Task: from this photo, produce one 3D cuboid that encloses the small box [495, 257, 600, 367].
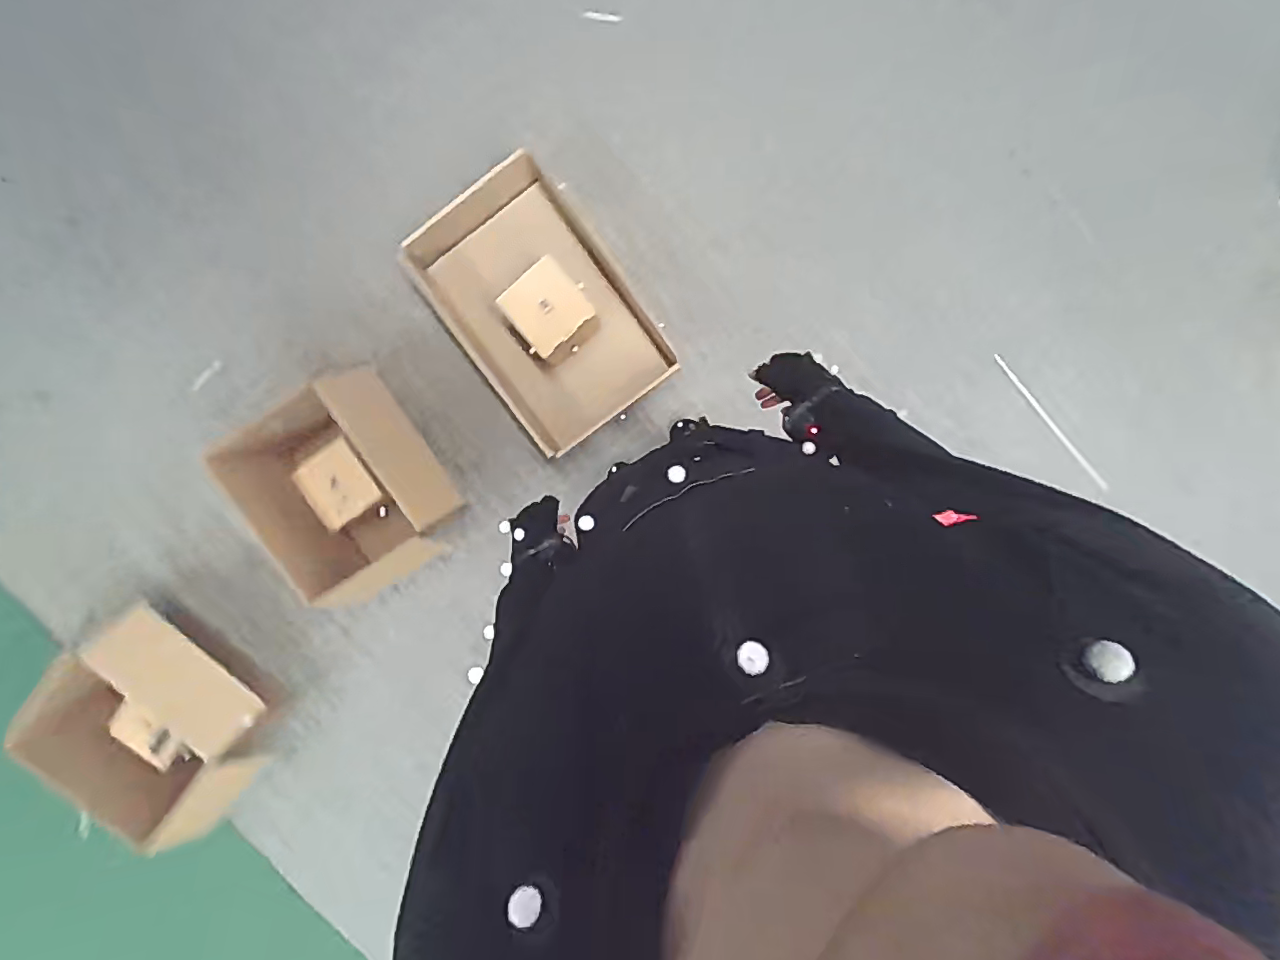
[{"bbox_3d":[-0.216,-0.396,1.315,0.168,0.176,0.179,-41,93,4],"label":"small box"}]
